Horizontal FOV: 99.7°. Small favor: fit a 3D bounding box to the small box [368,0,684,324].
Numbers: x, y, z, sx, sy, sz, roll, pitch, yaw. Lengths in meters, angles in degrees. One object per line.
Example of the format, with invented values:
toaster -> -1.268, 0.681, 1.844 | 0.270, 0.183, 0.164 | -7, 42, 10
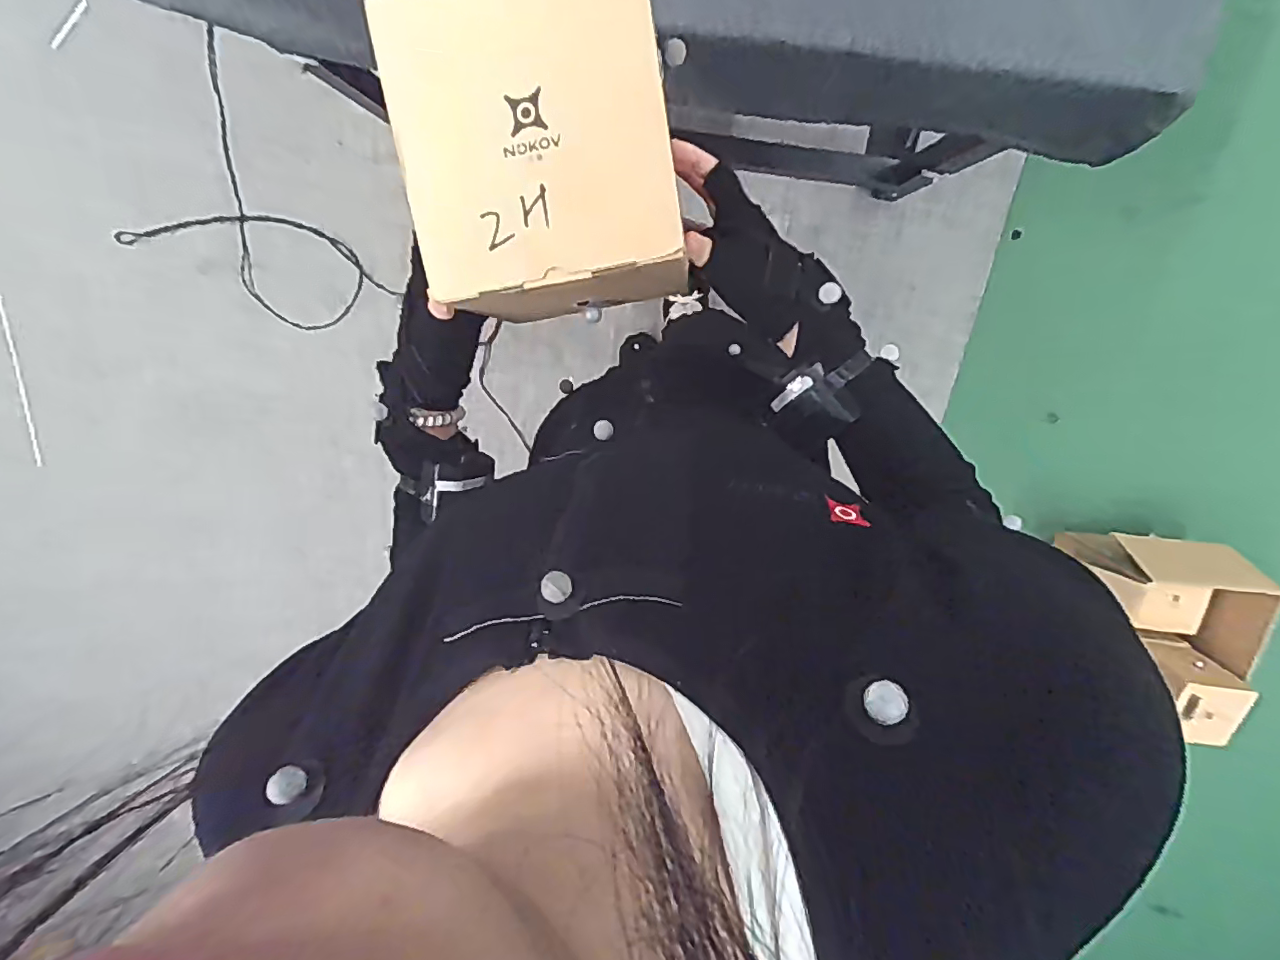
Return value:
small box -> -0.060, -0.222, 0.400 | 0.168, 0.176, 0.179 | -8, 101, 8
